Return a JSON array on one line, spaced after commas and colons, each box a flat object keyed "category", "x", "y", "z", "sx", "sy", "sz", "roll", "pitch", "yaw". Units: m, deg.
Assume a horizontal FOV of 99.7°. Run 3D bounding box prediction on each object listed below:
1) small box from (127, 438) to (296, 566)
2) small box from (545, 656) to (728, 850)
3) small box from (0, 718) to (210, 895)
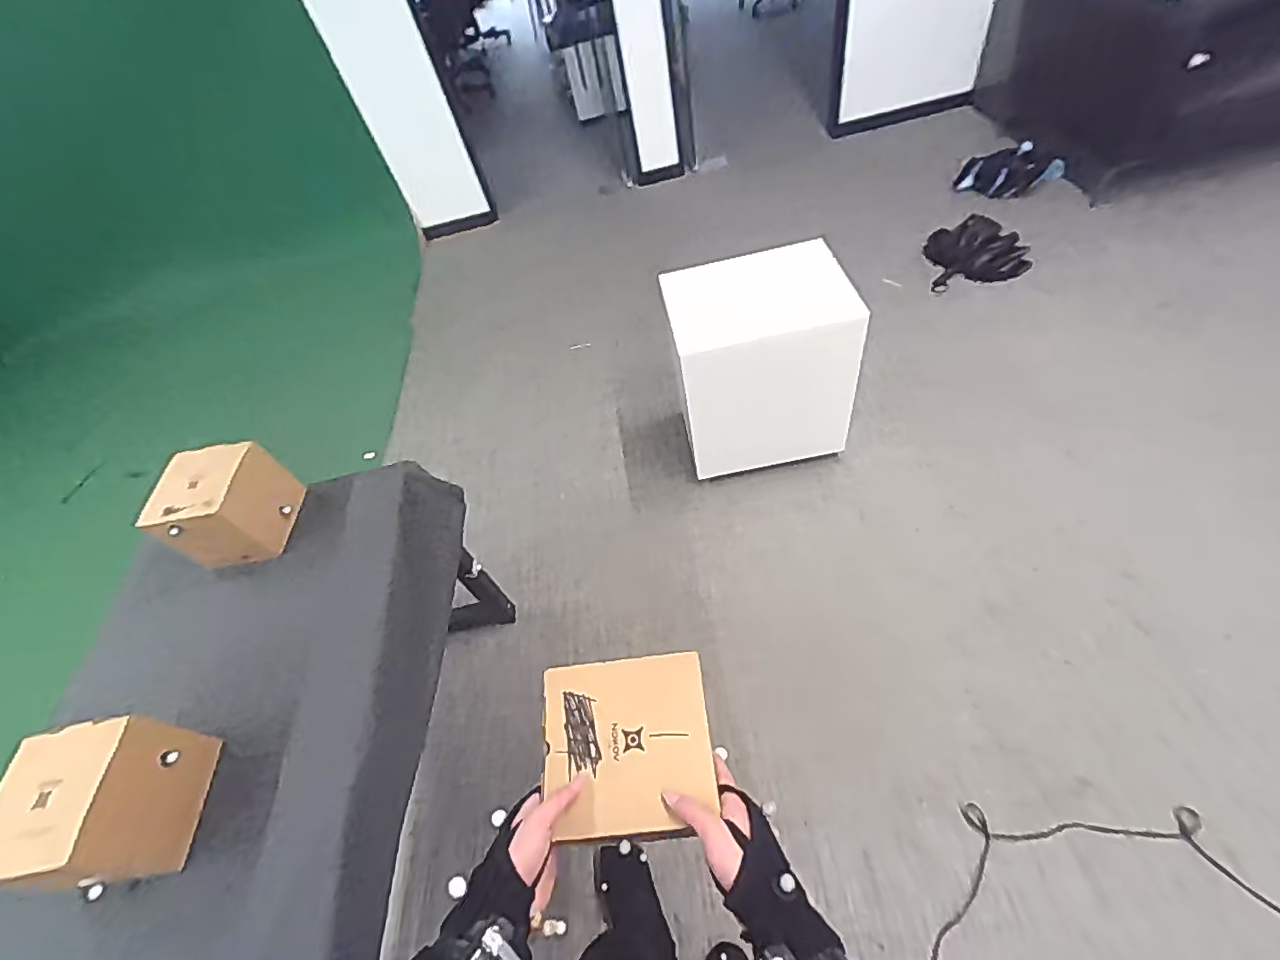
[{"category": "small box", "x": -0.817, "y": 0.046, "z": 1.057, "sx": 0.168, "sy": 0.176, "sz": 0.179, "roll": -8, "pitch": 52, "yaw": 5}, {"category": "small box", "x": 0.001, "y": 0.313, "z": 0.612, "sx": 0.179, "sy": 0.176, "sz": 0.168, "roll": -6, "pitch": 55, "yaw": 2}, {"category": "small box", "x": -0.746, "y": 0.450, "z": 0.740, "sx": 0.168, "sy": 0.176, "sz": 0.179, "roll": -13, "pitch": 53, "yaw": 3}]
